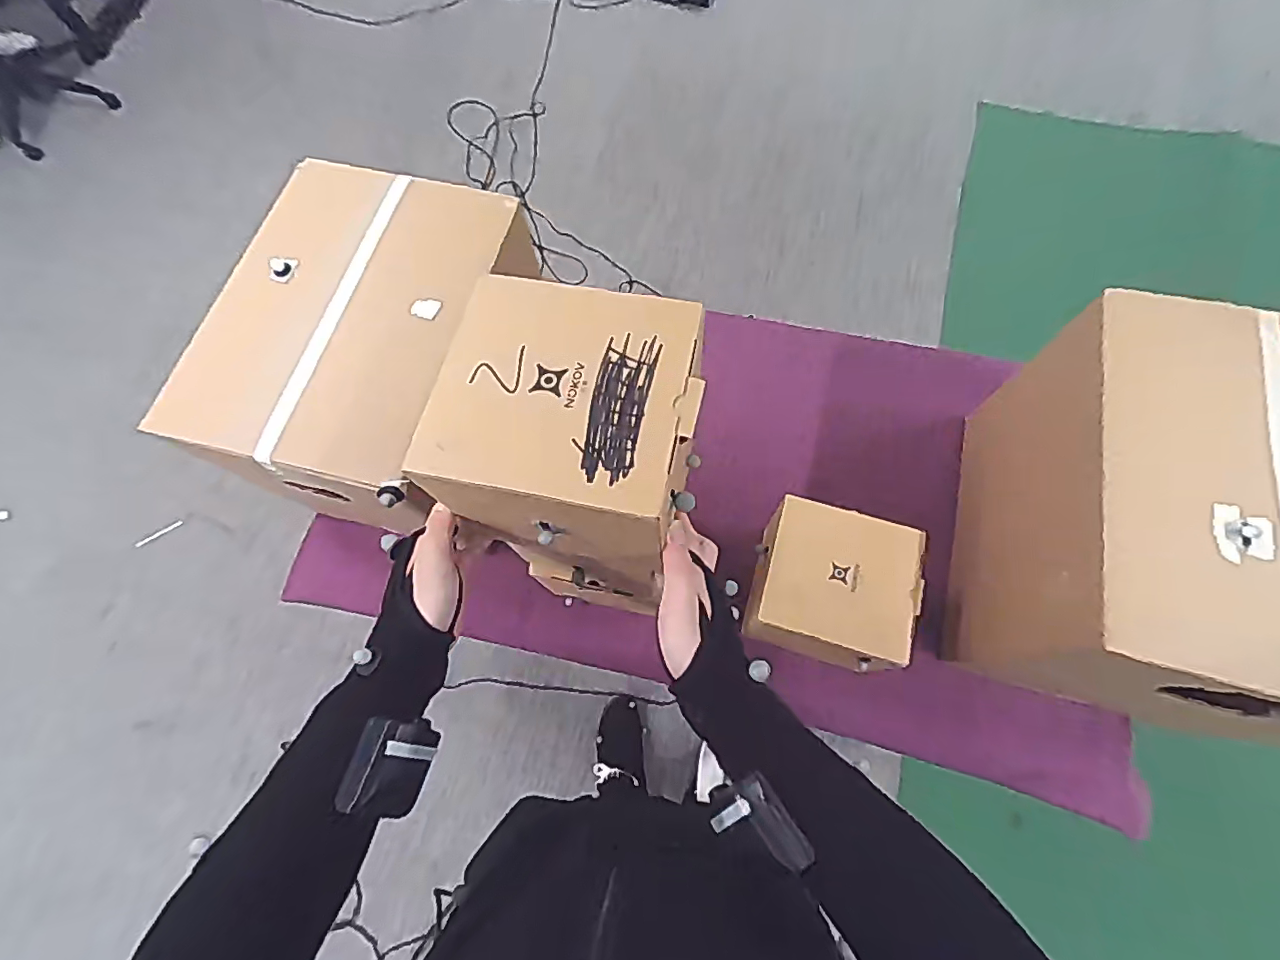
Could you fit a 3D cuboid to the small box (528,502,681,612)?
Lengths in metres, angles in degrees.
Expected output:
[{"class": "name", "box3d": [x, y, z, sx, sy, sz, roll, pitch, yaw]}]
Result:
[{"class": "small box", "box3d": [-0.036, 0.075, 0.750, 0.168, 0.176, 0.179, 11, 70, 6]}]

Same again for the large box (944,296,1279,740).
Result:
[{"class": "large box", "box3d": [0.609, 0.060, 0.654, 0.320, 0.320, 0.408, 14, 72, 9]}]

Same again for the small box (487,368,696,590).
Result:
[{"class": "small box", "box3d": [-0.042, 0.008, 0.600, 0.168, 0.176, 0.179, 14, 71, 8]}]
